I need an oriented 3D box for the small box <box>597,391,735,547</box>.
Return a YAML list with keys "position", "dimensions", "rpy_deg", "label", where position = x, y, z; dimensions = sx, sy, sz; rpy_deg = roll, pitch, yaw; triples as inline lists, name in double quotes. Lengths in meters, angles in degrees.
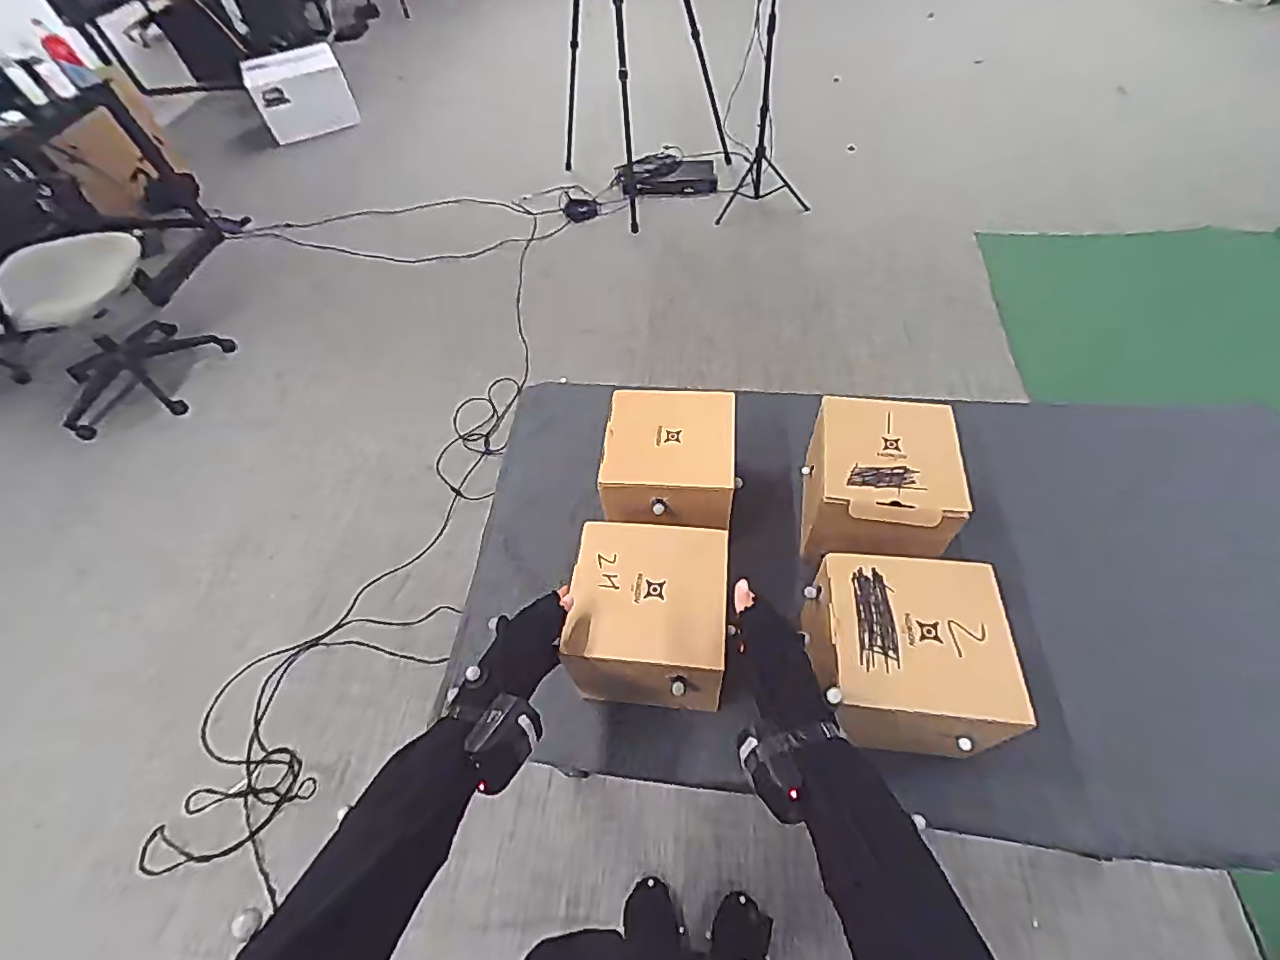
- position: [0.045, -0.012, 0.791]
  dimensions: [0.179, 0.176, 0.168]
  rpy_deg: [2, 56, 8]
  label: "small box"
